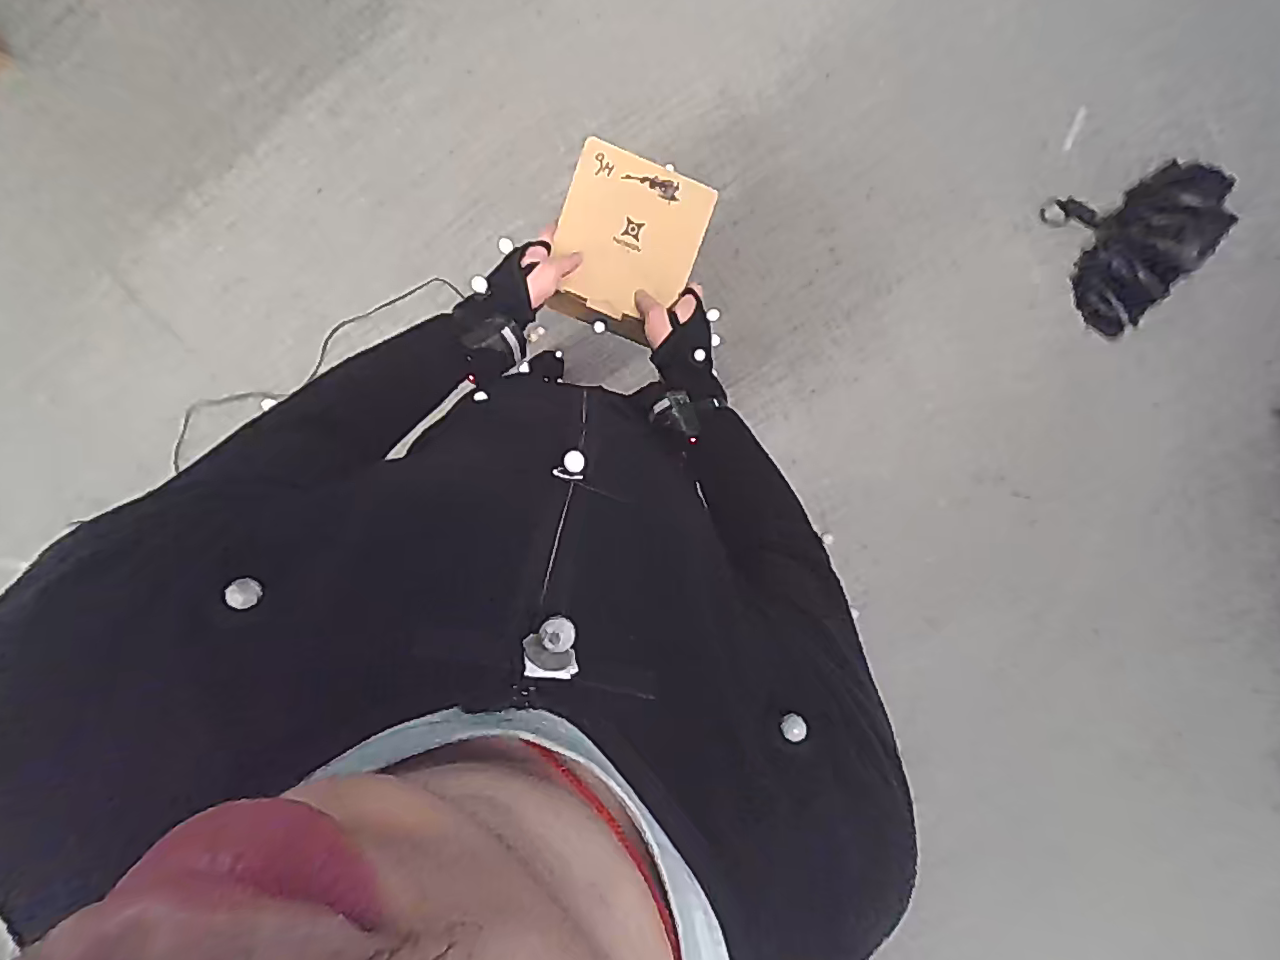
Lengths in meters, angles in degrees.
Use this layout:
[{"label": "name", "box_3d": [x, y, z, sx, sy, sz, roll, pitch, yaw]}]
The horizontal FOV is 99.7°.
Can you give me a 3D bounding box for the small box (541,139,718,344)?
[{"label": "small box", "box_3d": [-0.018, -0.288, 0.701, 0.168, 0.176, 0.179, 18, 97, -8]}]
